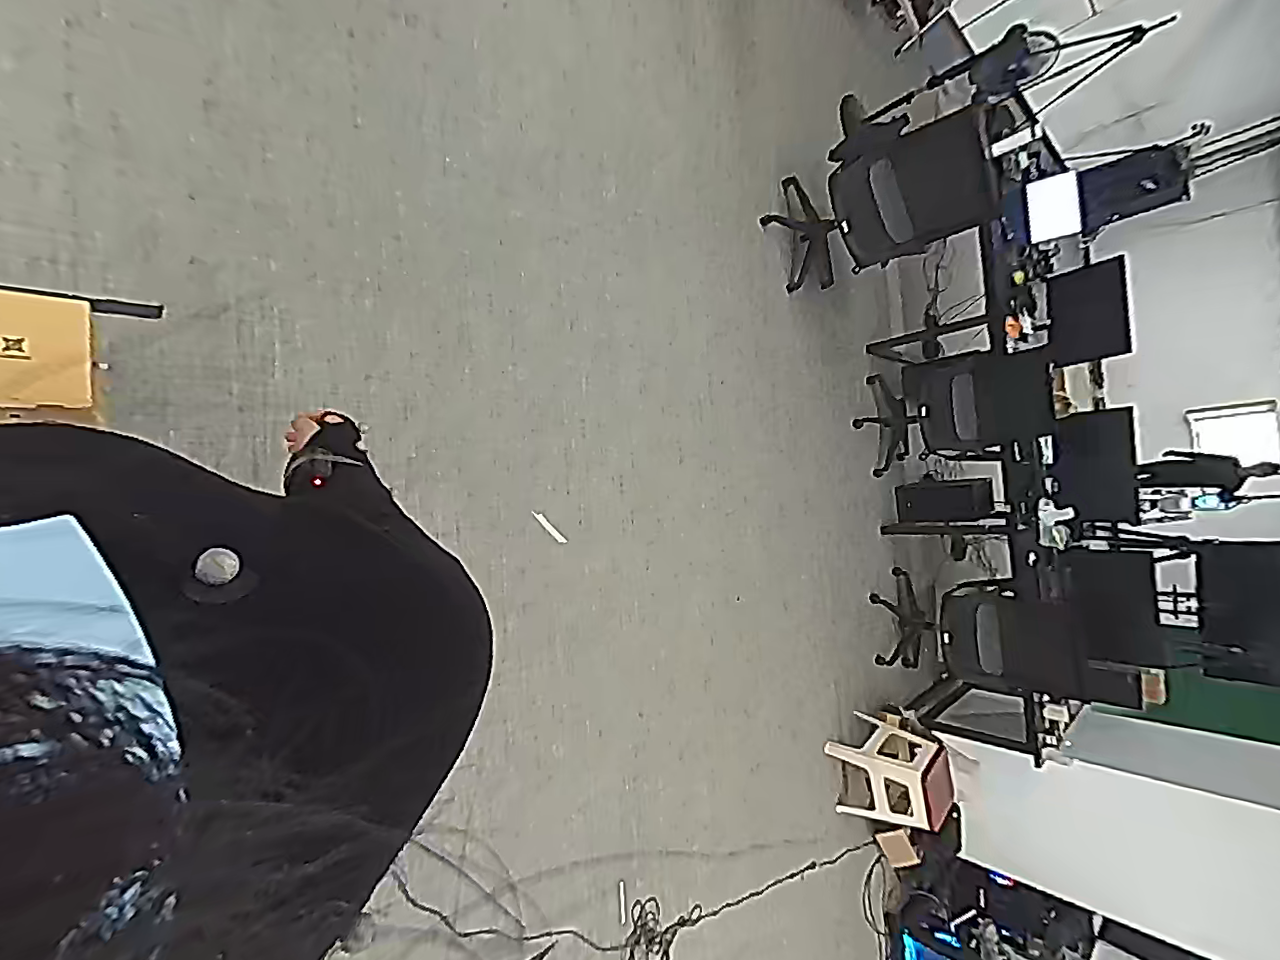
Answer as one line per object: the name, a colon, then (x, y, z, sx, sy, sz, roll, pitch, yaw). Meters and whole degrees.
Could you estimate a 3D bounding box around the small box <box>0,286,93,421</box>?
small box: (-0.995, -0.197, 0.858, 0.168, 0.176, 0.179, -2, 88, -42)

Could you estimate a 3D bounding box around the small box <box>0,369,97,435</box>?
small box: (-1.106, -0.176, 0.975, 0.168, 0.176, 0.179, -4, 88, -43)
